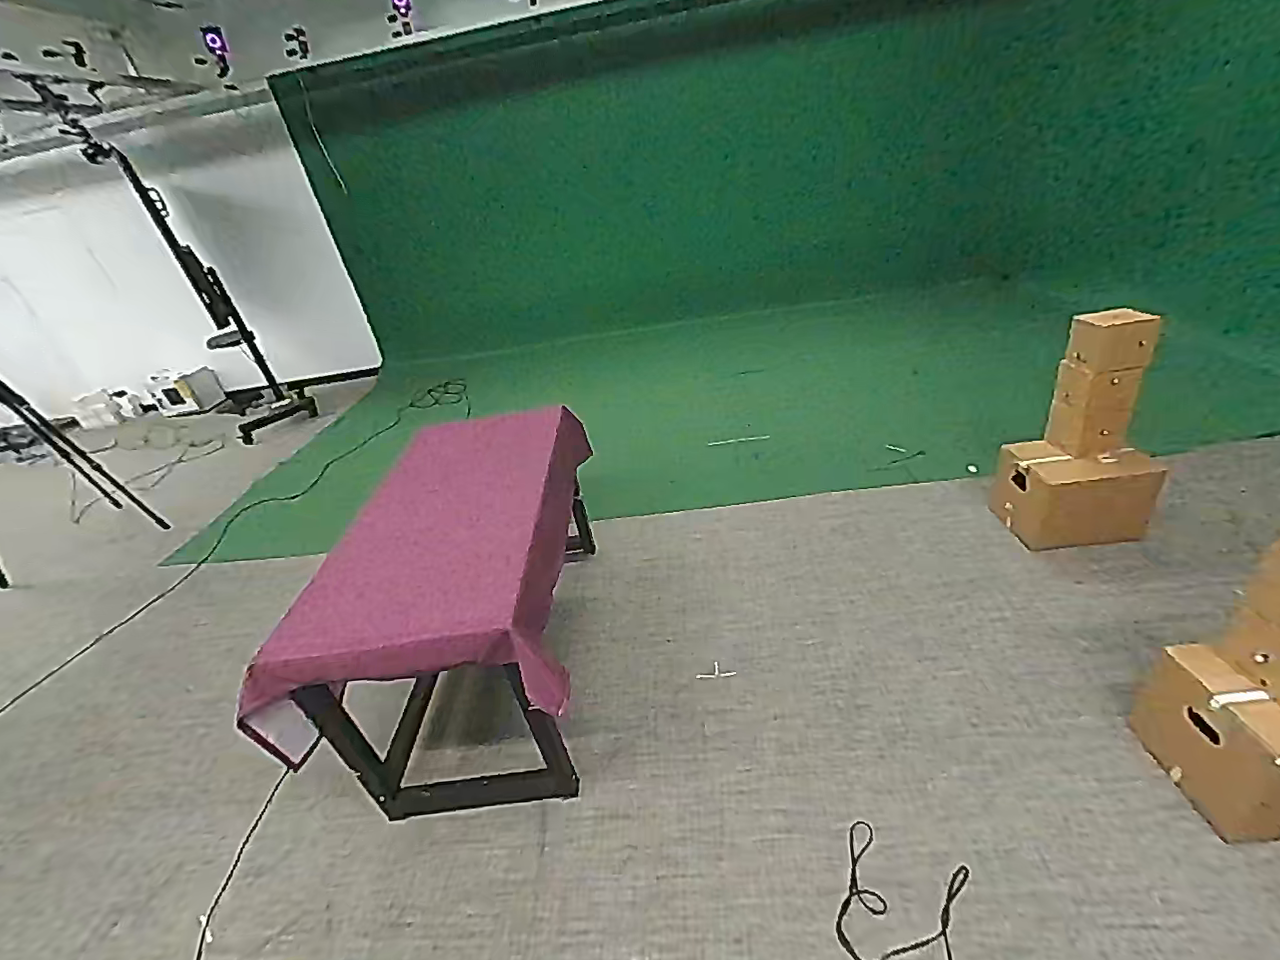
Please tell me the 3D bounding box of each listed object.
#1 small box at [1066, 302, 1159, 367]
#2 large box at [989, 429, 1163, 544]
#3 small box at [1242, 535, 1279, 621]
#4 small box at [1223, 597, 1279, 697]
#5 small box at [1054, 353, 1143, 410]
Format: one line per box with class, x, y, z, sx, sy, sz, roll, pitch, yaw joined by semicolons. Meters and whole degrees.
small box;1.652;-0.511;1.903;0.179;0.176;0.168;-8;28;7
large box;1.681;0.024;2.127;0.408;0.320;0.320;-7;31;5
small box;1.429;0.220;1.110;0.168;0.176;0.179;-9;30;2
small box;1.460;0.361;1.192;0.179;0.176;0.168;-10;30;3
small box;1.673;-0.371;1.985;0.179;0.176;0.168;-9;28;5
